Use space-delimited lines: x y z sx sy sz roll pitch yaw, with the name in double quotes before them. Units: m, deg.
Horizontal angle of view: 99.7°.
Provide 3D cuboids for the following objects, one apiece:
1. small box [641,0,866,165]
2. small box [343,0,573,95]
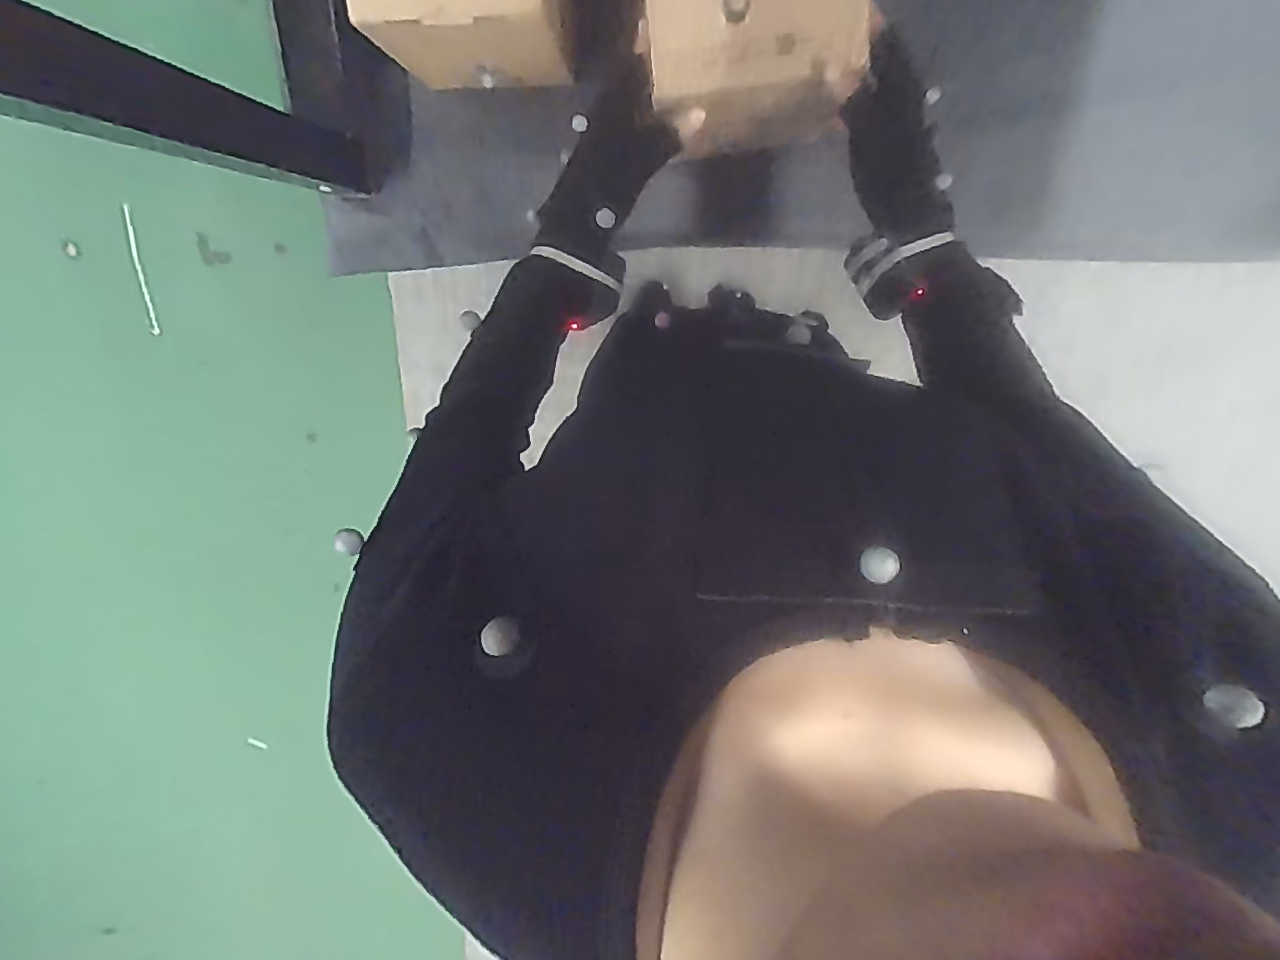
"small box" 0.089 -0.399 0.473 0.168 0.179 0.176 -5 103 6
"small box" -0.158 -0.484 0.495 0.168 0.176 0.179 1 109 3
